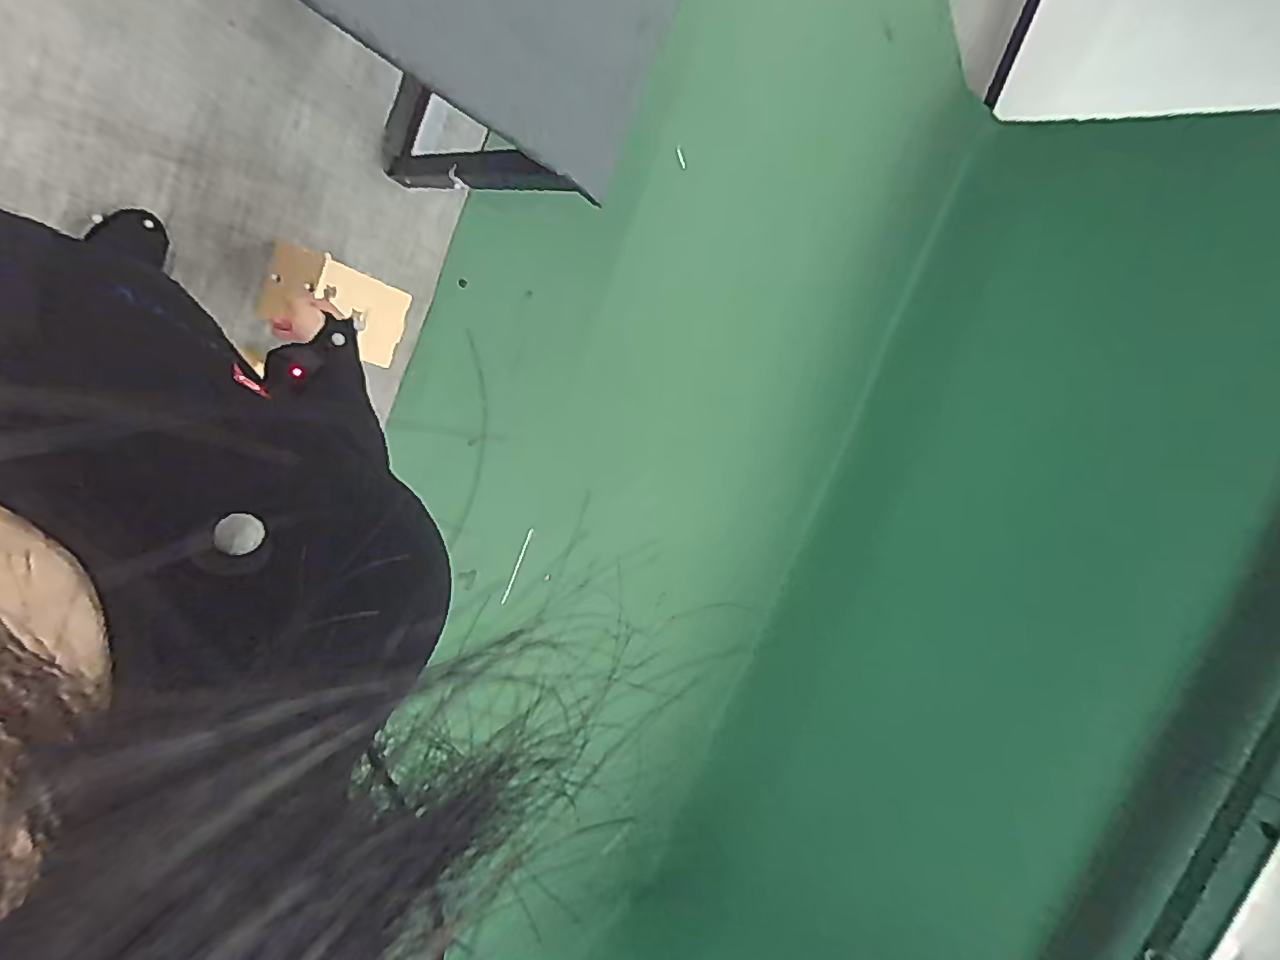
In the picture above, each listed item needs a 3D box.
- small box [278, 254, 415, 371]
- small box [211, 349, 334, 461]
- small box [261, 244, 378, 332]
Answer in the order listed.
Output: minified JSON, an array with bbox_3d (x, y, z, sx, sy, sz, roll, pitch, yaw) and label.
[{"bbox_3d":[-0.611,-0.350,1.123,0.179,0.176,0.168,17,99,-51],"label":"small box"},{"bbox_3d":[-0.840,-0.172,1.231,0.168,0.176,0.179,29,89,-51],"label":"small box"},{"bbox_3d":[-0.728,-0.411,1.223,0.168,0.176,0.179,13,100,-51],"label":"small box"}]
